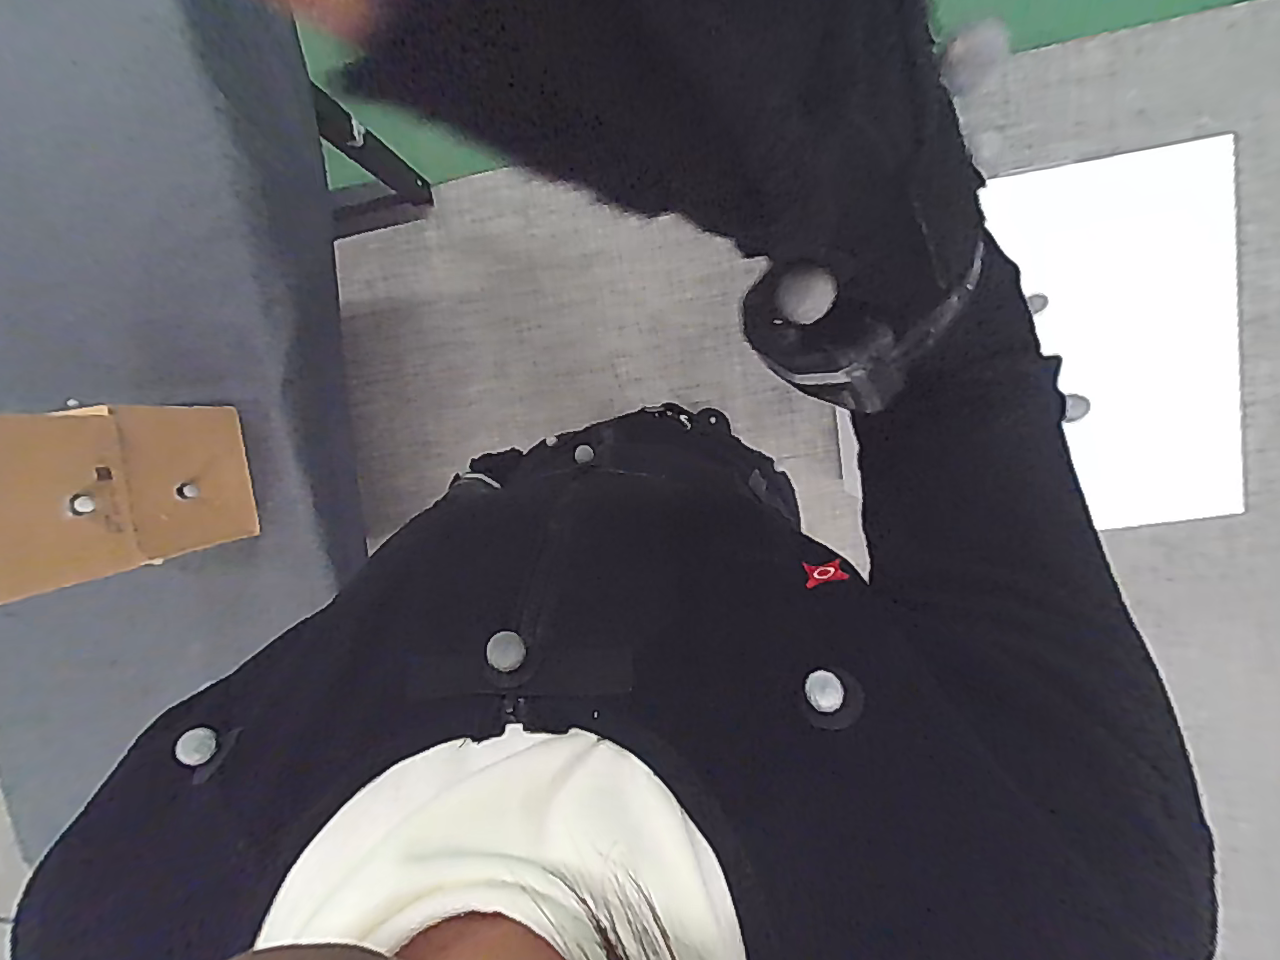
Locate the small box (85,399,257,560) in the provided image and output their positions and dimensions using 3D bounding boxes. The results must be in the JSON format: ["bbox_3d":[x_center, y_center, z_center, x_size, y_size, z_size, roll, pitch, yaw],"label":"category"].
[{"bbox_3d":[-0.623,-0.006,0.674,0.168,0.176,0.179,-6,97,7],"label":"small box"}]
